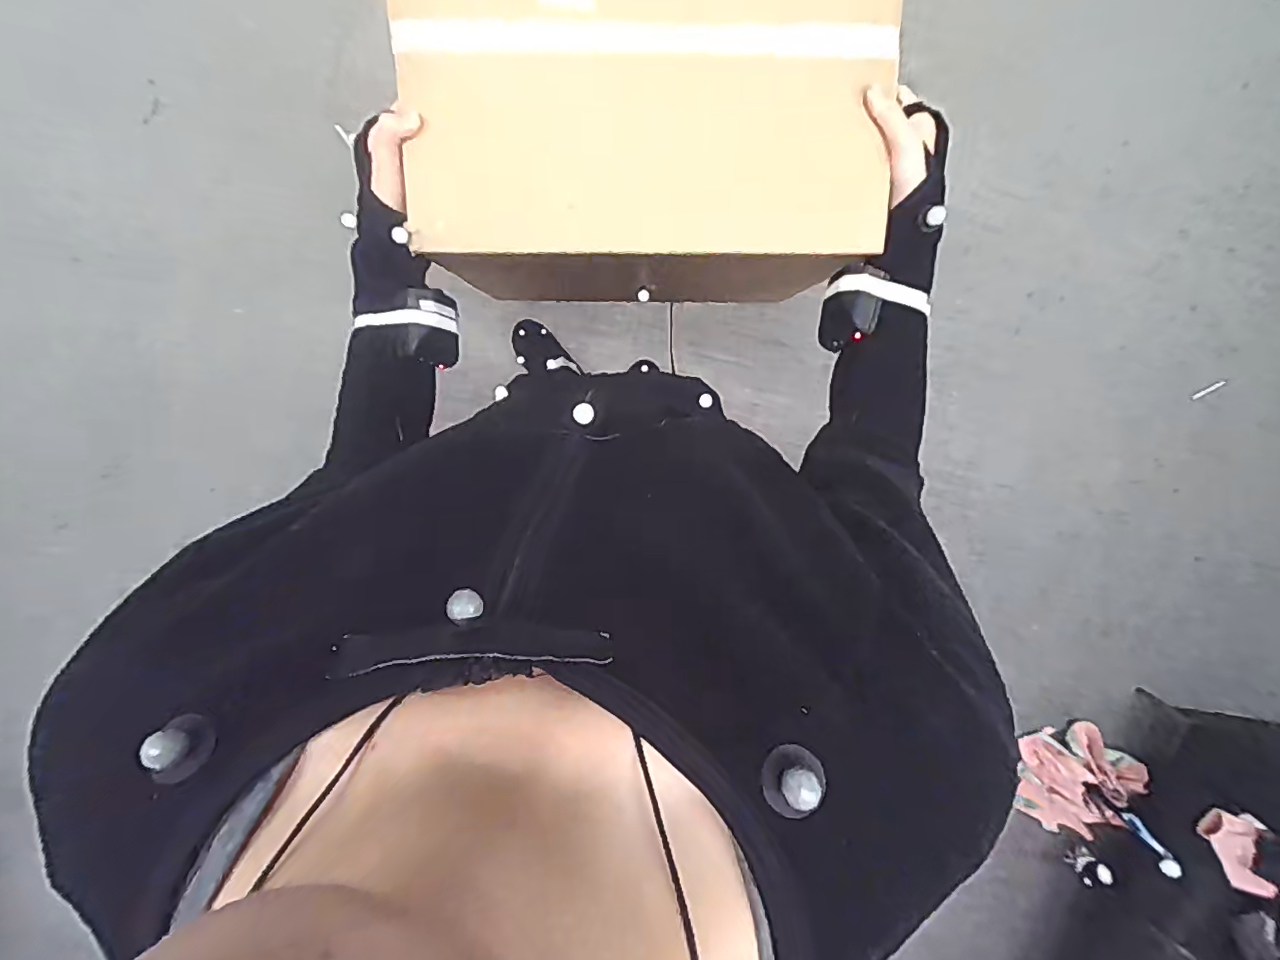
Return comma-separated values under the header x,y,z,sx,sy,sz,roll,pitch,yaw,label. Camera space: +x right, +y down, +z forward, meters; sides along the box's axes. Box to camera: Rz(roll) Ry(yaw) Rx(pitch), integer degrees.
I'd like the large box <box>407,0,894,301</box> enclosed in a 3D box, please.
x,y,z,sx,sy,sz,roll,pitch,yaw,label
0.008,-0.373,0.593,0.408,0.320,0.320,0,100,-1,large box
